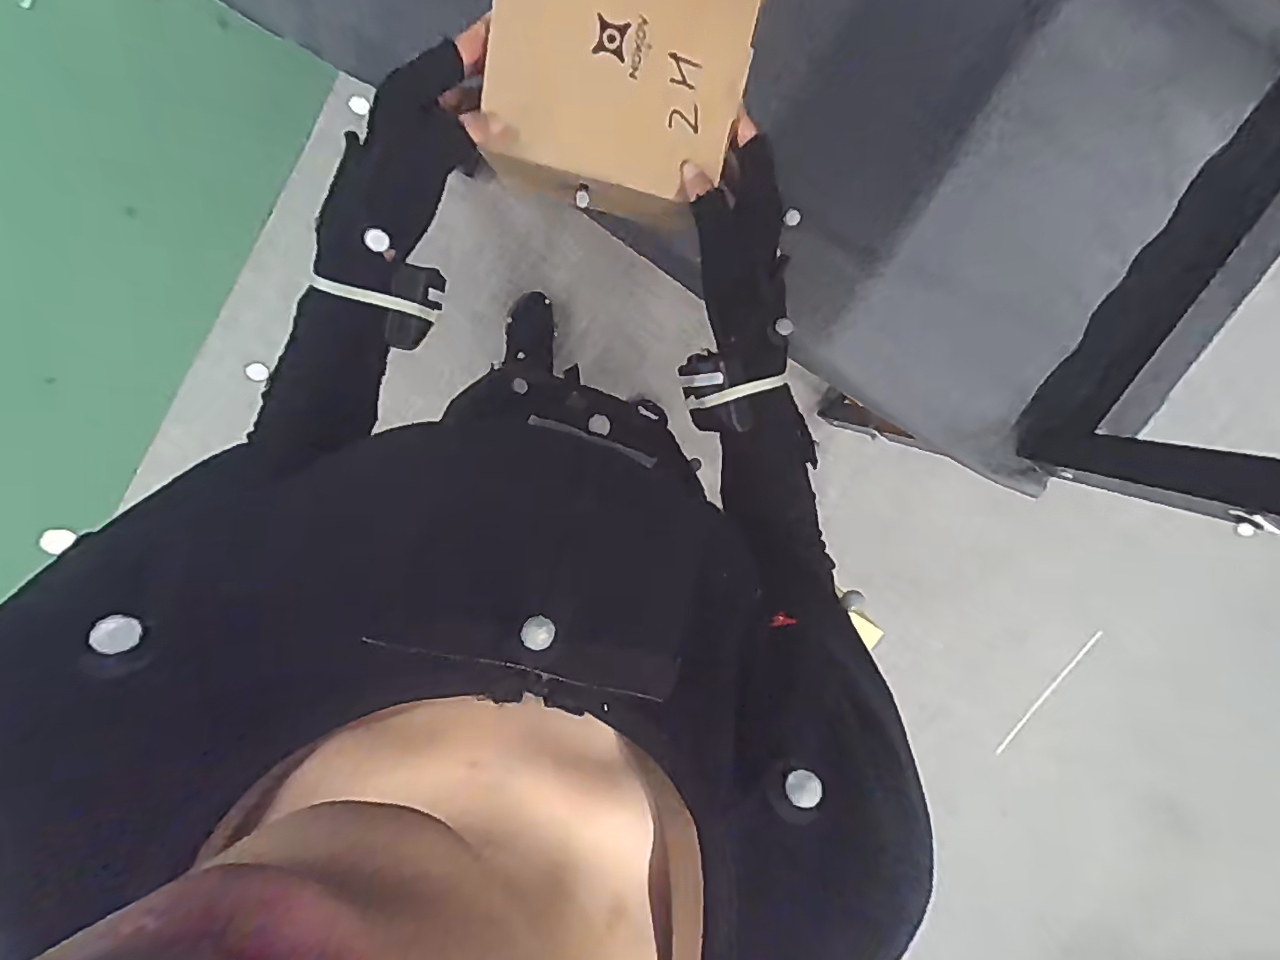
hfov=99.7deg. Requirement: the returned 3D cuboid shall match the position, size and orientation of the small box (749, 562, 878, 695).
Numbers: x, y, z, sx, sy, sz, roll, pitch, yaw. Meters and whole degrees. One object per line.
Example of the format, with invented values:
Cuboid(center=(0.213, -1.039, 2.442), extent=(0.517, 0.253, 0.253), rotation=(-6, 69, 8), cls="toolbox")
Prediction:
Cuboid(center=(0.349, 0.300, 1.130), extent=(0.168, 0.176, 0.179), rotation=(32, 99, -7), cls="small box")
